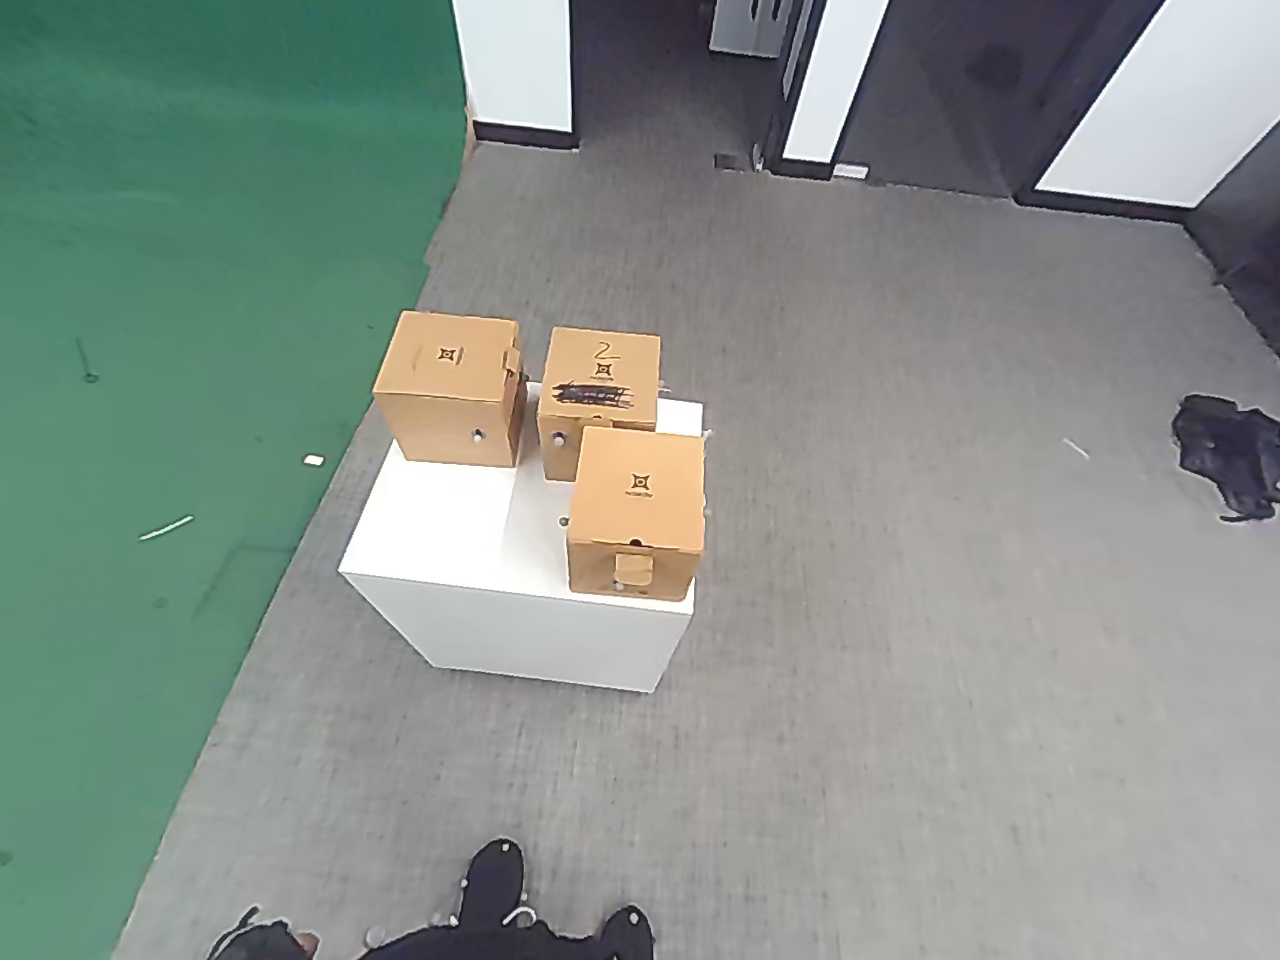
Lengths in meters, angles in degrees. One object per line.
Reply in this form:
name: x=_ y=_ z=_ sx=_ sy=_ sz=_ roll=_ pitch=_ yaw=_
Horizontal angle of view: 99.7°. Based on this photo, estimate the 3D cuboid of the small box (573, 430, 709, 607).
small box: x=-0.001 y=0.057 z=0.750 sx=0.168 sy=0.176 sz=0.179 roll=6 pitch=56 yaw=-2

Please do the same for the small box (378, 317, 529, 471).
small box: x=-0.273 y=-0.127 z=0.843 sx=0.179 sy=0.176 sz=0.168 roll=4 pitch=56 yaw=-4
